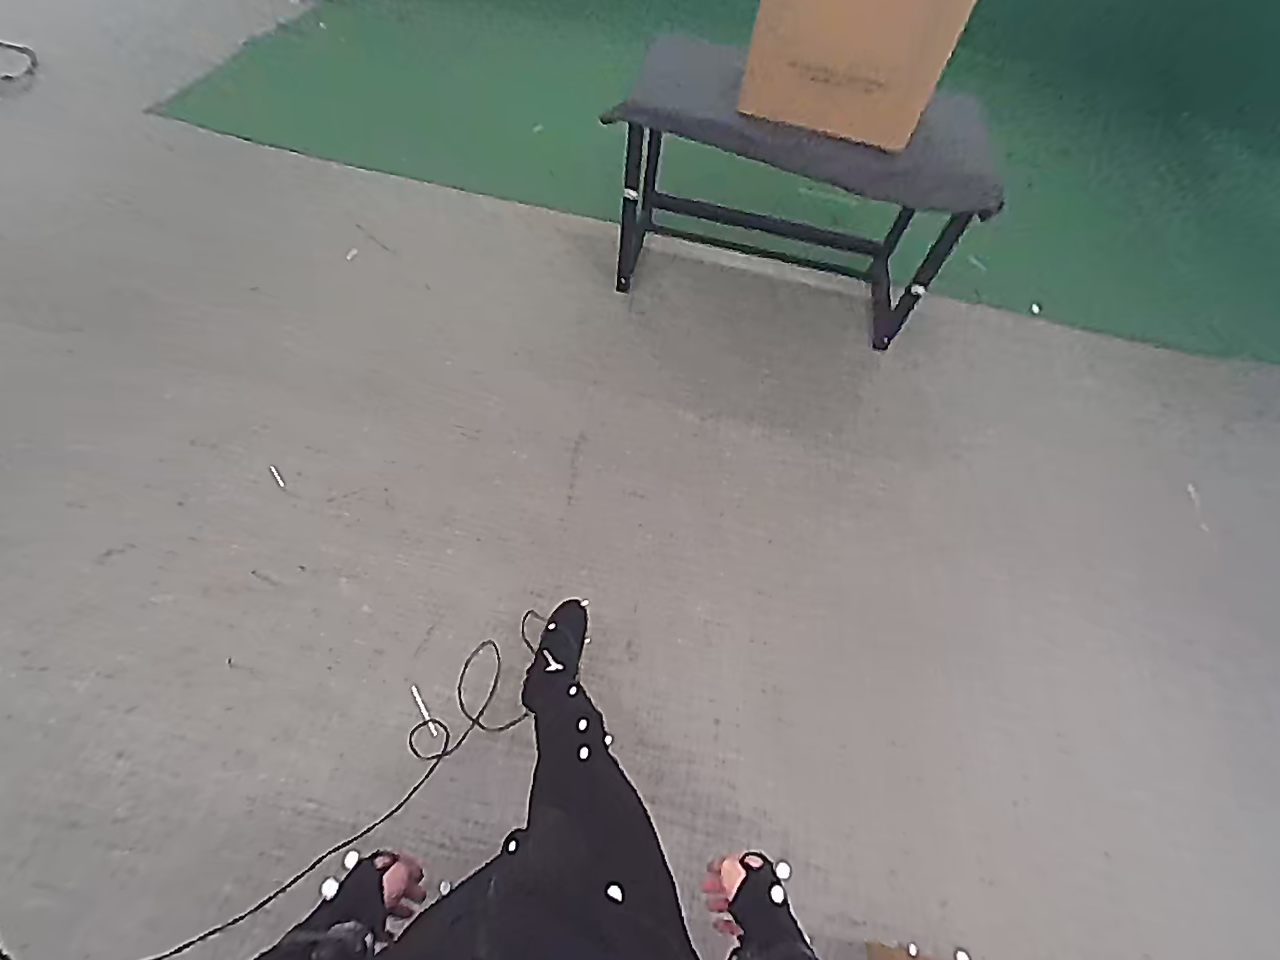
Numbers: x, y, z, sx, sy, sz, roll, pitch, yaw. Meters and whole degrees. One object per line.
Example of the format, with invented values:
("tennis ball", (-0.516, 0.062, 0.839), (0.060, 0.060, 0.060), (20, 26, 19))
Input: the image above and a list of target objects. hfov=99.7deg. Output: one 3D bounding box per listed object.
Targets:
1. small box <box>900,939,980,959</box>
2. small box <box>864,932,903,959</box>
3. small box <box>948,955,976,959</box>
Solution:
("small box", (0.603, 0.992, 0.998), (0.168, 0.176, 0.179), (14, 58, 0))
("small box", (0.583, 1.083, 1.135), (0.179, 0.176, 0.168), (14, 59, 1))
("small box", (0.619, 0.902, 0.865), (0.168, 0.176, 0.179), (14, 59, 1))
